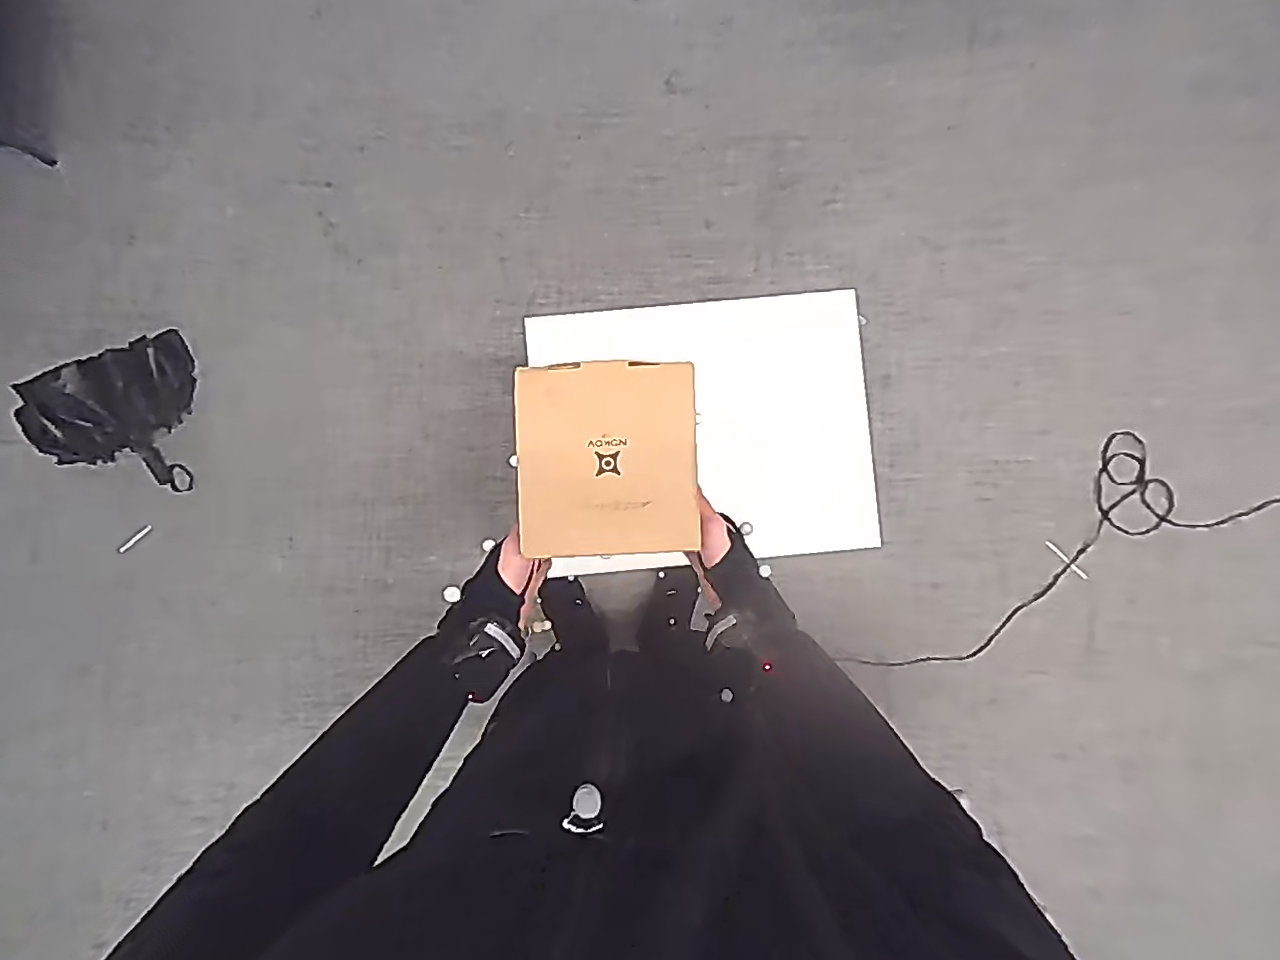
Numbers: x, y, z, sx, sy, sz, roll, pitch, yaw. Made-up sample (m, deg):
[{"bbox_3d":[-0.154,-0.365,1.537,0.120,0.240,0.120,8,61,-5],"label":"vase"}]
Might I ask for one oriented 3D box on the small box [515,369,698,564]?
[{"bbox_3d":[-0.032,-0.011,0.571,0.168,0.176,0.179,-3,90,0],"label":"small box"}]
